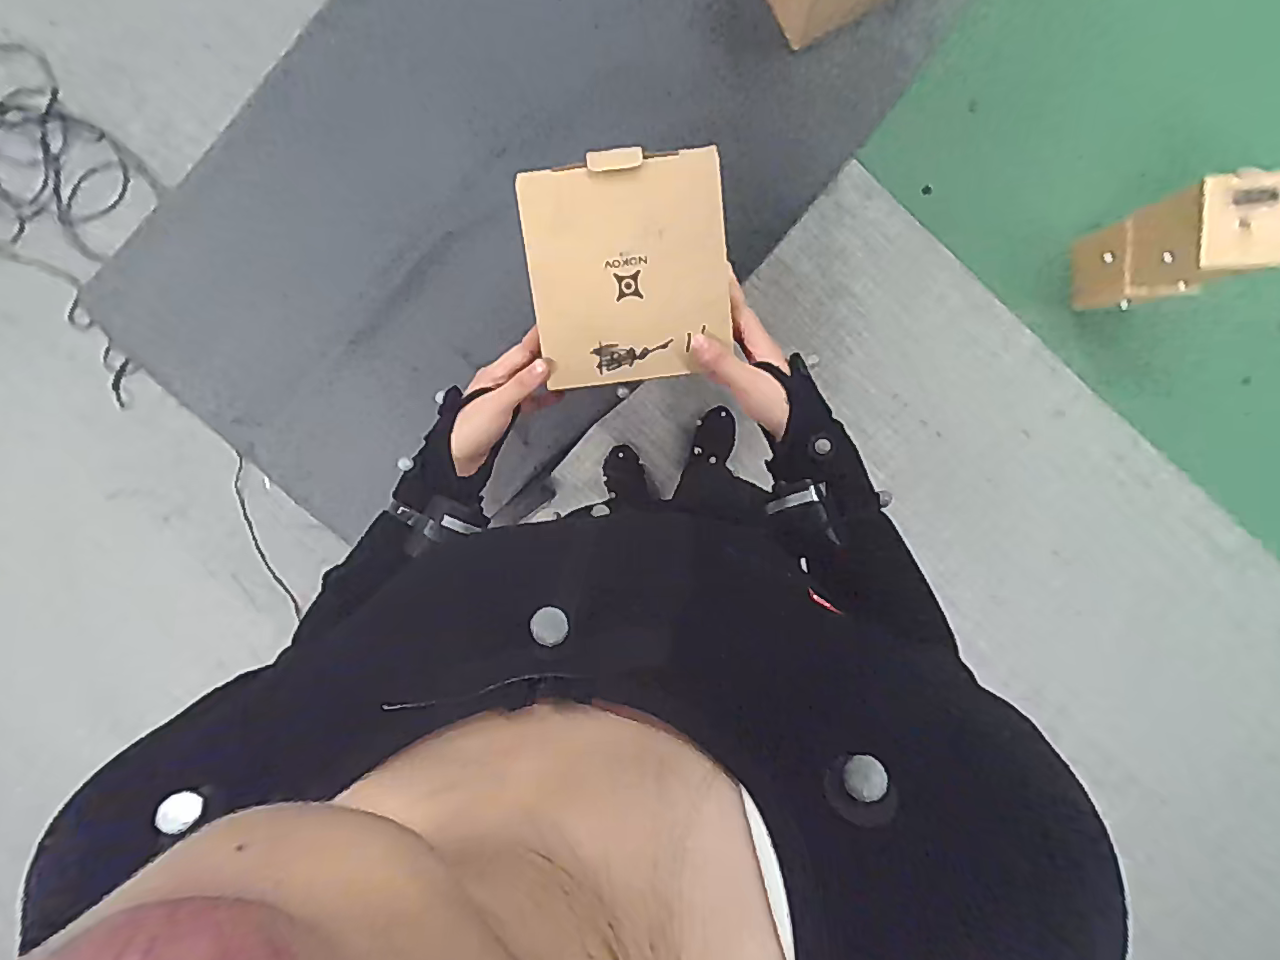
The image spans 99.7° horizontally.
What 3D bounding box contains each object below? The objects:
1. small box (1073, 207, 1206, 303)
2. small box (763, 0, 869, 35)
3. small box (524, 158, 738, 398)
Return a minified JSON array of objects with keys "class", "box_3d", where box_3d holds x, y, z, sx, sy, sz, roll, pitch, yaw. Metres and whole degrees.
[{"class":"small box","box_3d":[1.175,-0.525,1.287,0.168,0.176,0.179,-3,96,3]},{"class":"small box","box_3d":[0.211,-0.635,0.578,0.168,0.176,0.179,-28,92,5]},{"class":"small box","box_3d":[-0.002,-0.178,0.521,0.168,0.176,0.179,-5,103,4]}]
